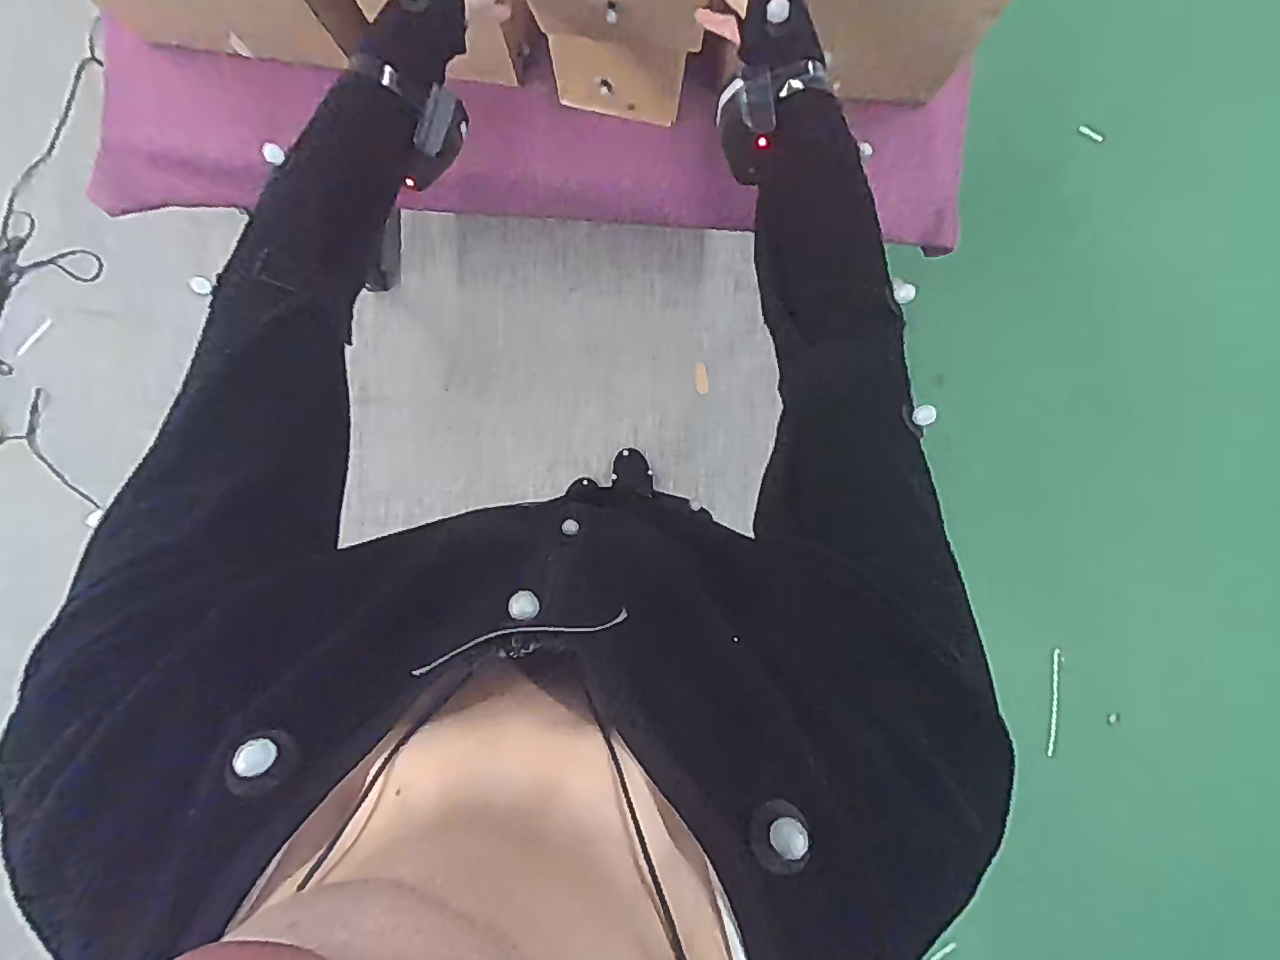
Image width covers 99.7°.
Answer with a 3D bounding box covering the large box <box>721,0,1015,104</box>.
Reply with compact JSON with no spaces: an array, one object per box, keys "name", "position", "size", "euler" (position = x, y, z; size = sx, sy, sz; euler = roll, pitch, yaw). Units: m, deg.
[{"name":"large box","position":[0.268,-0.732,0.616],"size":[0.320,0.320,0.408],"euler":[1,93,1]}]
